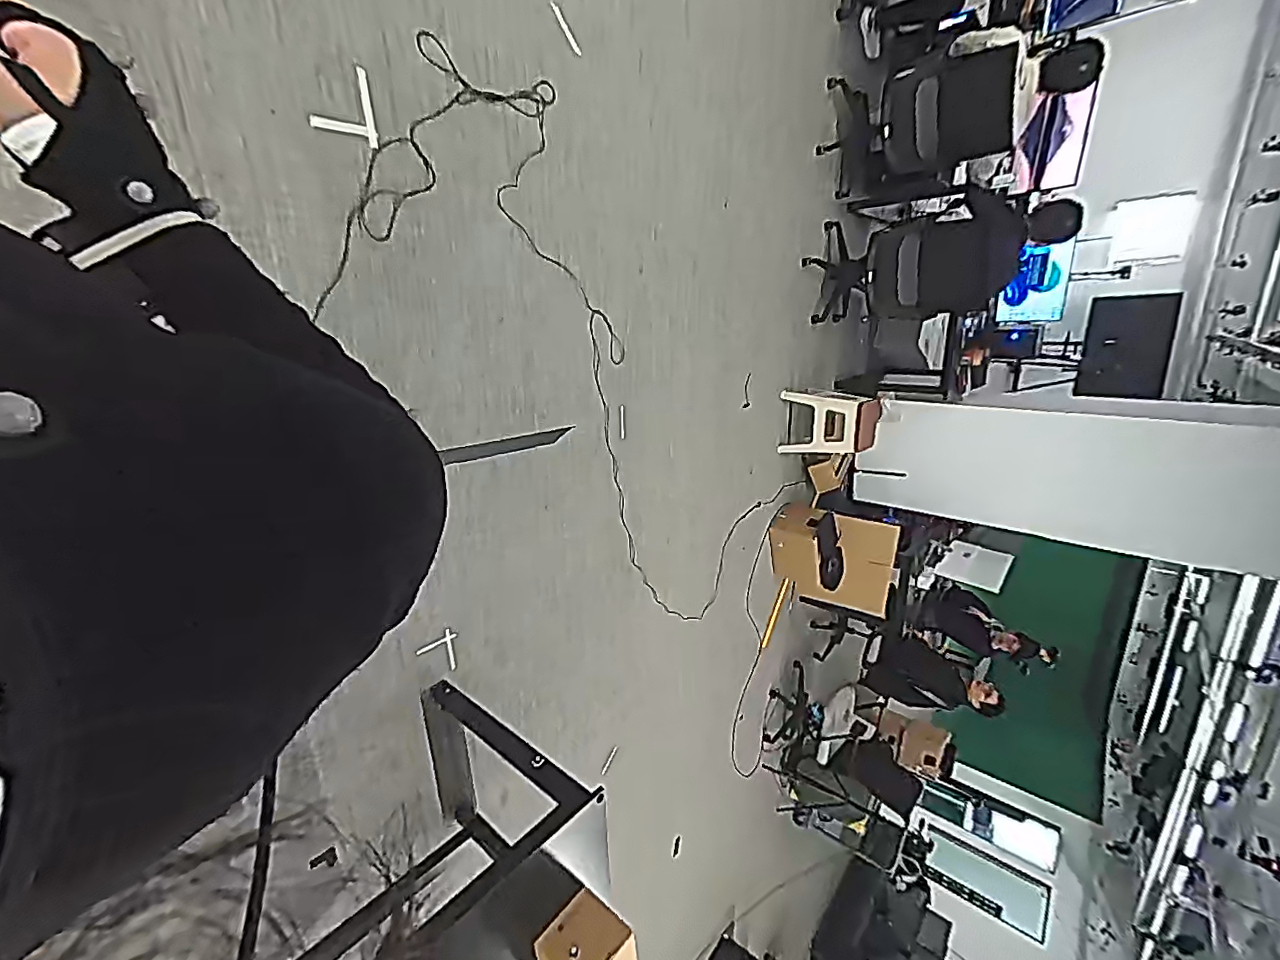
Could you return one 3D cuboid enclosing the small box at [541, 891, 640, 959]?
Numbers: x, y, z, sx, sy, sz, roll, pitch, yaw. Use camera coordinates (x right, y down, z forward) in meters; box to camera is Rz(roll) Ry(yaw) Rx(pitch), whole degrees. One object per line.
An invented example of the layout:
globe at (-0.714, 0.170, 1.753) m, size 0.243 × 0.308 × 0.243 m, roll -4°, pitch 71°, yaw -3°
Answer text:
small box at (-0.116, 1.127, 1.275) m, size 0.168 × 0.176 × 0.179 m, roll -25°, pitch 119°, yaw -43°
